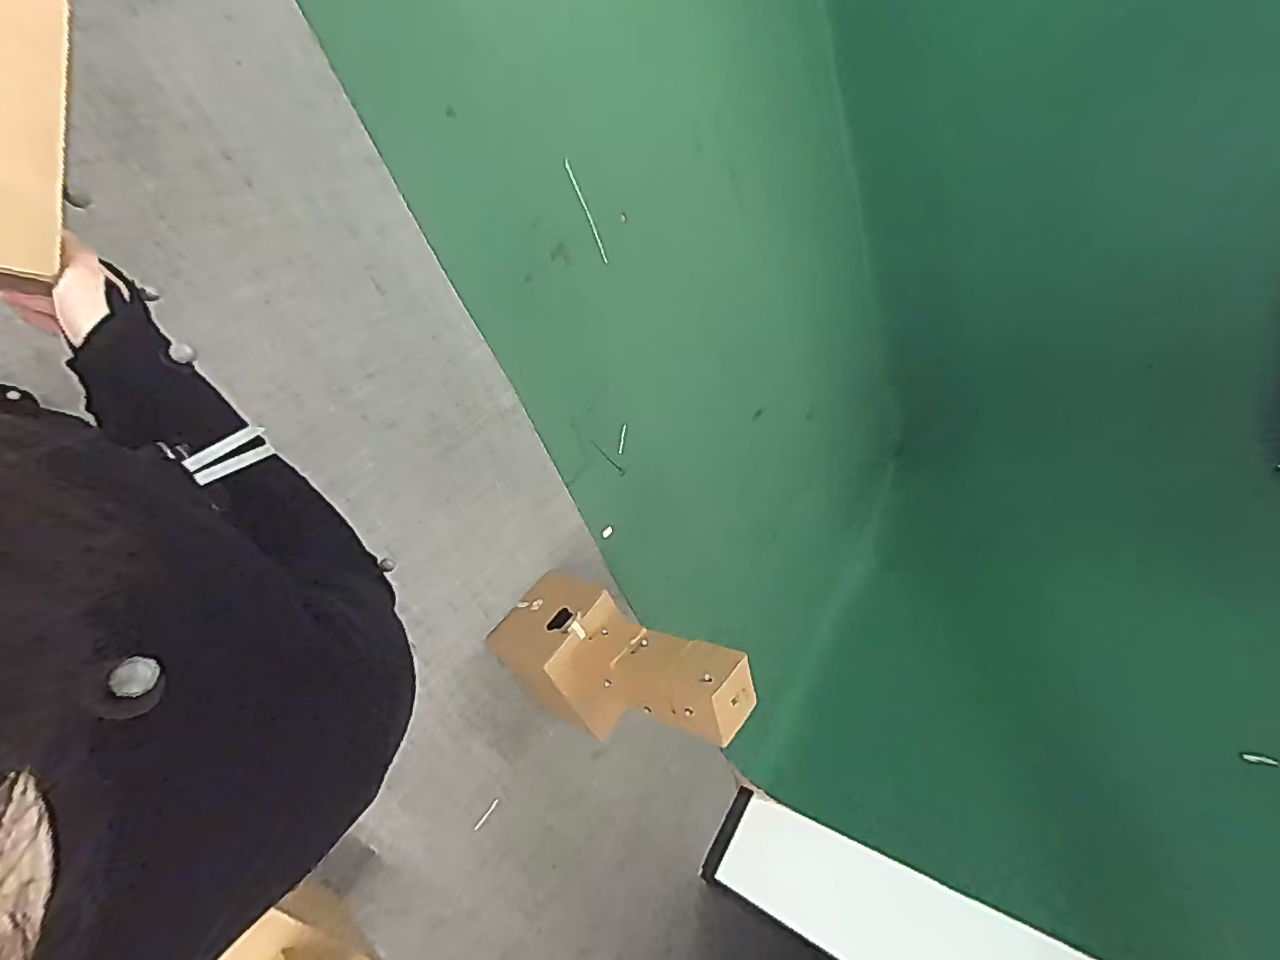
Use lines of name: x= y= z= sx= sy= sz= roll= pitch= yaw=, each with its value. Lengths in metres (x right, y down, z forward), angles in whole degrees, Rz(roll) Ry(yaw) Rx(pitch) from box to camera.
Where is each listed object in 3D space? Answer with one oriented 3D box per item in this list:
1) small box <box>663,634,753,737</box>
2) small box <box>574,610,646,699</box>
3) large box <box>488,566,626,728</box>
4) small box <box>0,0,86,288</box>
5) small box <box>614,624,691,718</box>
small box: x=0.177 y=0.543 z=1.455 sx=0.179 sy=0.176 sz=0.168 roll=-33 pitch=117 yaw=-42
small box: x=-0.075 y=0.528 z=1.663 sx=0.168 sy=0.176 sz=0.179 roll=-37 pitch=119 yaw=-40
large box: x=-0.238 y=0.558 z=1.848 sx=0.320 sy=0.320 sz=0.408 roll=-48 pitch=127 yaw=-33
small box: x=-0.471 y=-0.231 z=0.341 sx=0.168 sy=0.176 sz=0.179 roll=2 pitch=99 yaw=-47
small box: x=0.052 y=0.543 z=1.561 sx=0.168 sy=0.176 sz=0.179 roll=-34 pitch=116 yaw=-42
